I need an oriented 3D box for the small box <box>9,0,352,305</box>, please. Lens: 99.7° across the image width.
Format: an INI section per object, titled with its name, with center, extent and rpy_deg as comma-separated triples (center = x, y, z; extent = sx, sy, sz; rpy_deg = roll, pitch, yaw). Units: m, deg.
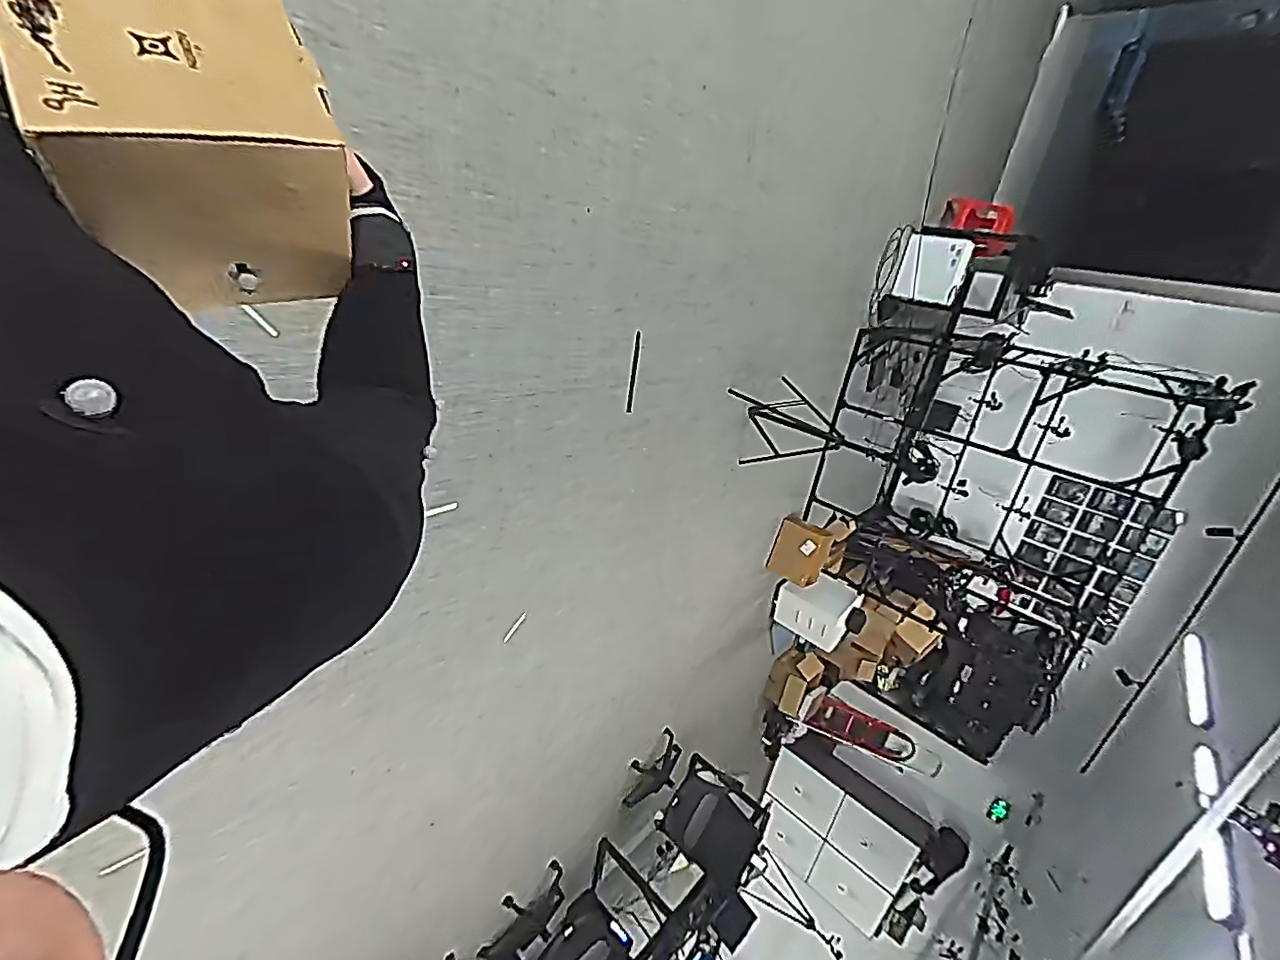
[small box]
center = -0.364, -0.272, 0.460
extent = 0.179, 0.168, 0.176
rpy_deg = -19, 166, -33
